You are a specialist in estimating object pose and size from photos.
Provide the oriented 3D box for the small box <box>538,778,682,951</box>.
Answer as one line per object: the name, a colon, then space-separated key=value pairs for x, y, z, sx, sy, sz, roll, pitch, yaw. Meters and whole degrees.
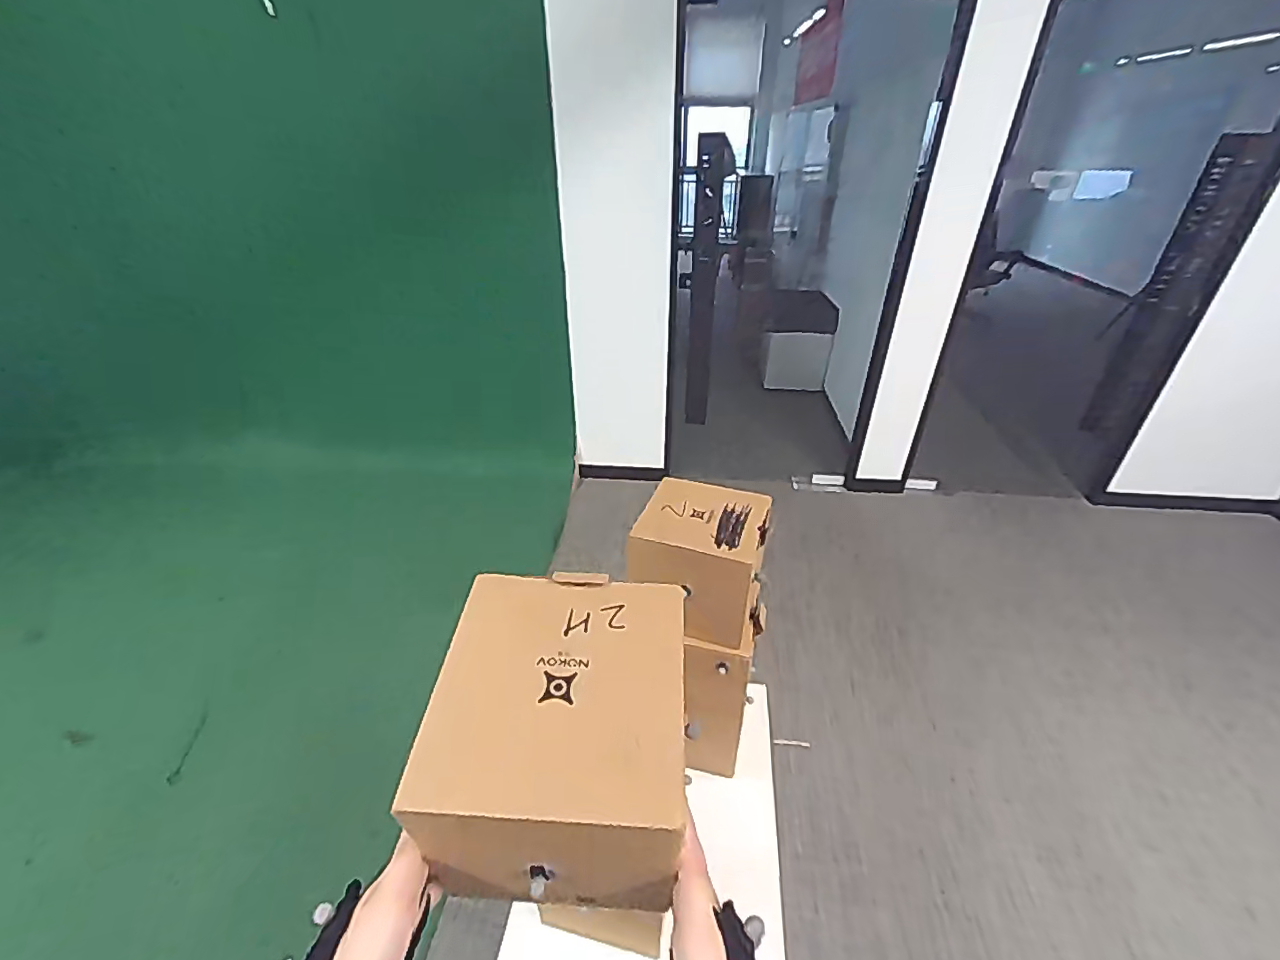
small box: x=-0.042 y=0.536 z=0.785 sx=0.179 sy=0.176 sz=0.168 roll=9 pitch=33 yaw=11

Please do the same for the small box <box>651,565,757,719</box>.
small box: x=0.092 y=0.270 z=0.905 sx=0.179 sy=0.176 sz=0.168 roll=9 pitch=34 yaw=11

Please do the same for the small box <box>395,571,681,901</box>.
small box: x=-0.056 y=0.195 z=0.418 sx=0.168 sy=0.176 sz=0.179 roll=4 pitch=38 yaw=1

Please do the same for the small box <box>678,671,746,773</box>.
small box: x=0.097 y=0.406 z=0.994 sx=0.179 sy=0.176 sz=0.168 roll=8 pitch=34 yaw=12
